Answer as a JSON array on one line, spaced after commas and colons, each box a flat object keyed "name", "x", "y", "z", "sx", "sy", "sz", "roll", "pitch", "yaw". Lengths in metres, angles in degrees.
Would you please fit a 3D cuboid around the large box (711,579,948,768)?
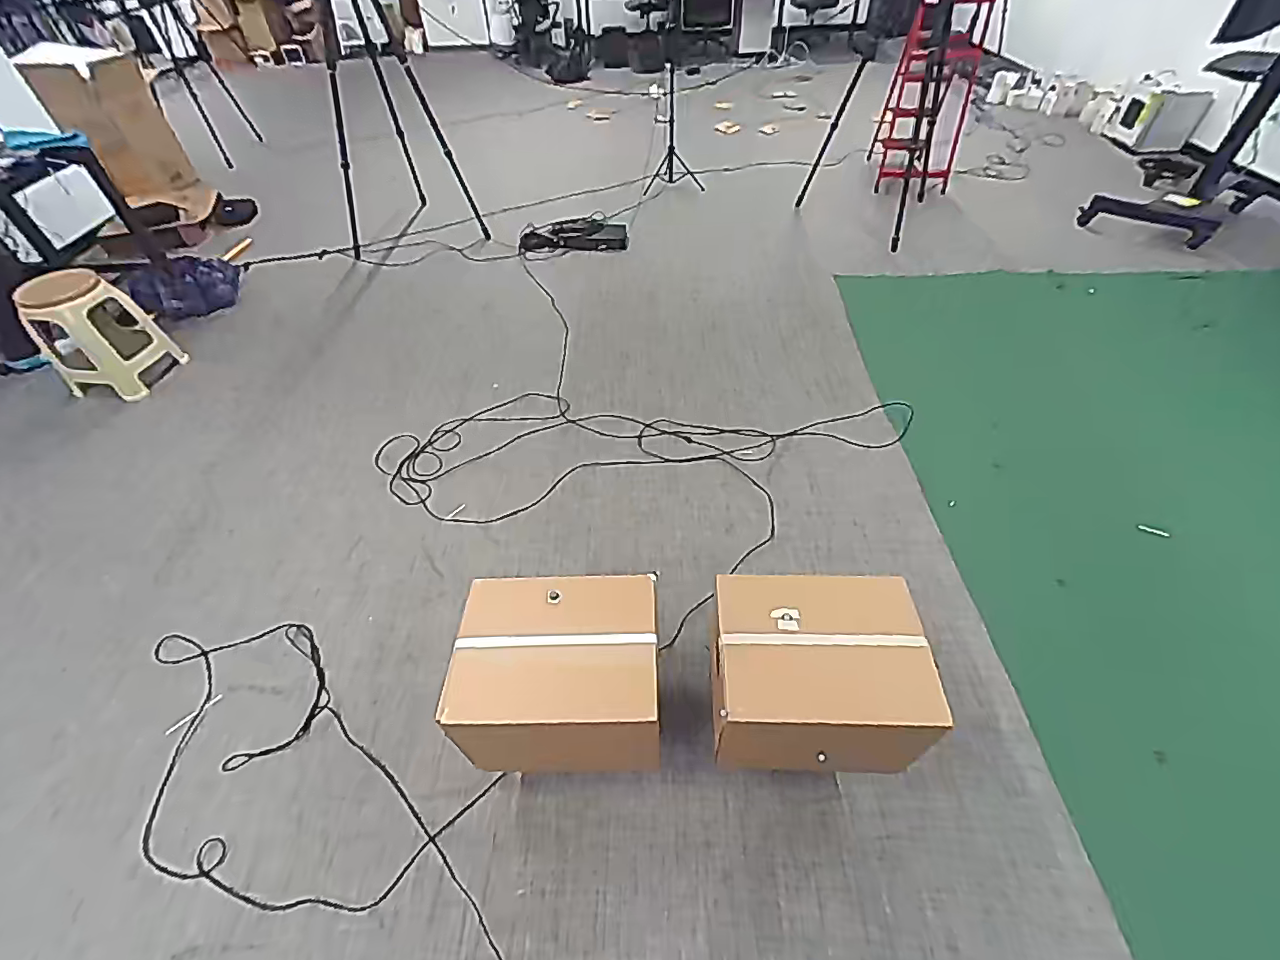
[{"name": "large box", "x": 0.373, "y": 0.430, "z": 1.193, "sx": 0.408, "sy": 0.320, "sz": 0.320, "roll": 0, "pitch": 47, "yaw": 4}]
